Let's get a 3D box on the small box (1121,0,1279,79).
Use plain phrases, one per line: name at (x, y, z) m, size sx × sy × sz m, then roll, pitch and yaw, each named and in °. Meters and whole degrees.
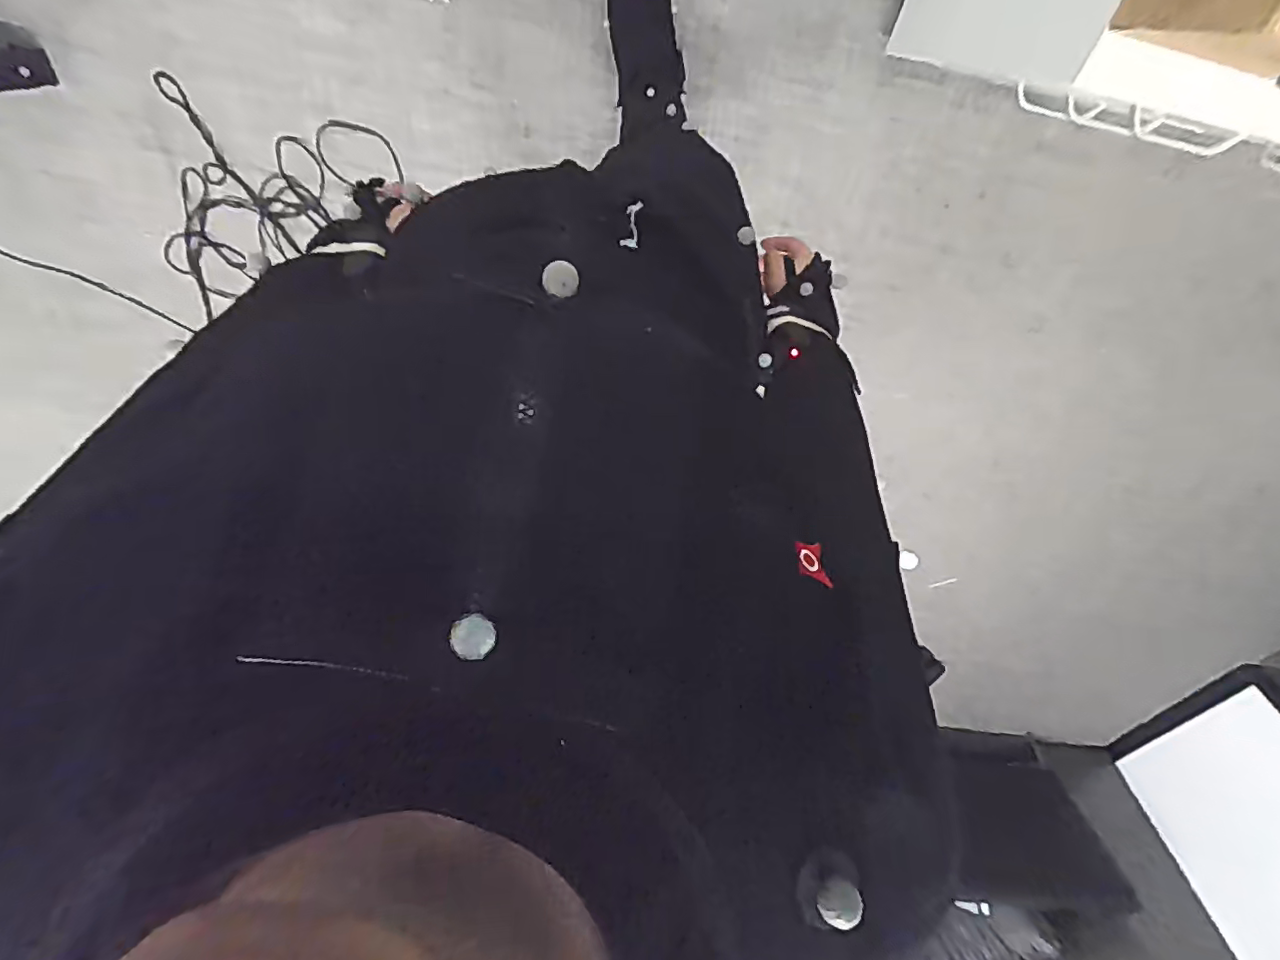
small box at (0.524, -0.397, 0.384) m, size 0.179 × 0.176 × 0.168 m, roll 10°, pitch 130°, yaw -7°
